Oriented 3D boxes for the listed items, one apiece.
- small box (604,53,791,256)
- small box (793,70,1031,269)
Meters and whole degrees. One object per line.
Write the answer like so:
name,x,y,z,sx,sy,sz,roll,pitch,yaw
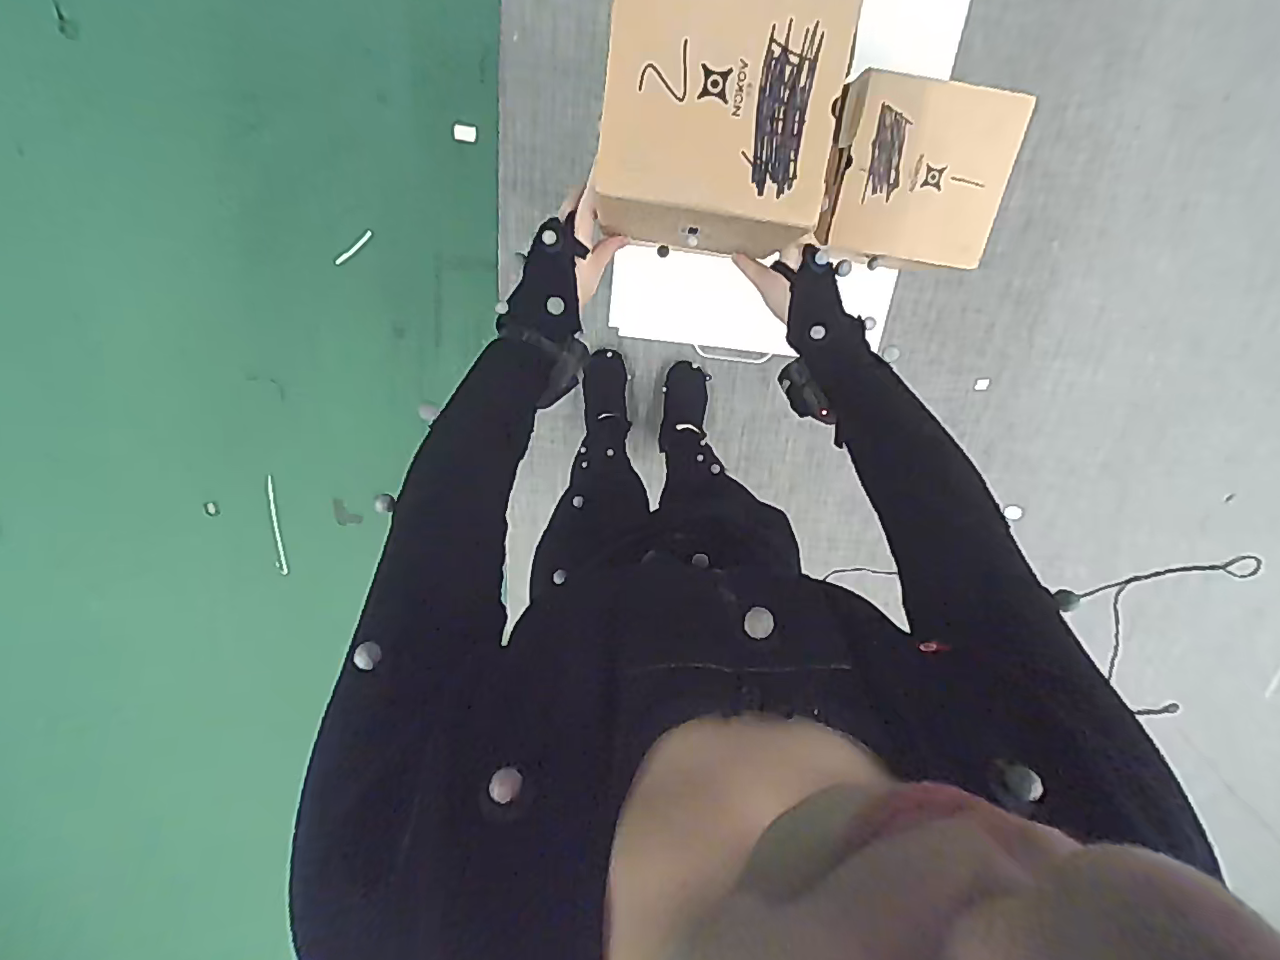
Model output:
small box,0.055,-0.363,0.637,0.179,0.176,0.168,6,111,-4
small box,0.299,-0.350,0.643,0.179,0.176,0.168,8,111,-3
